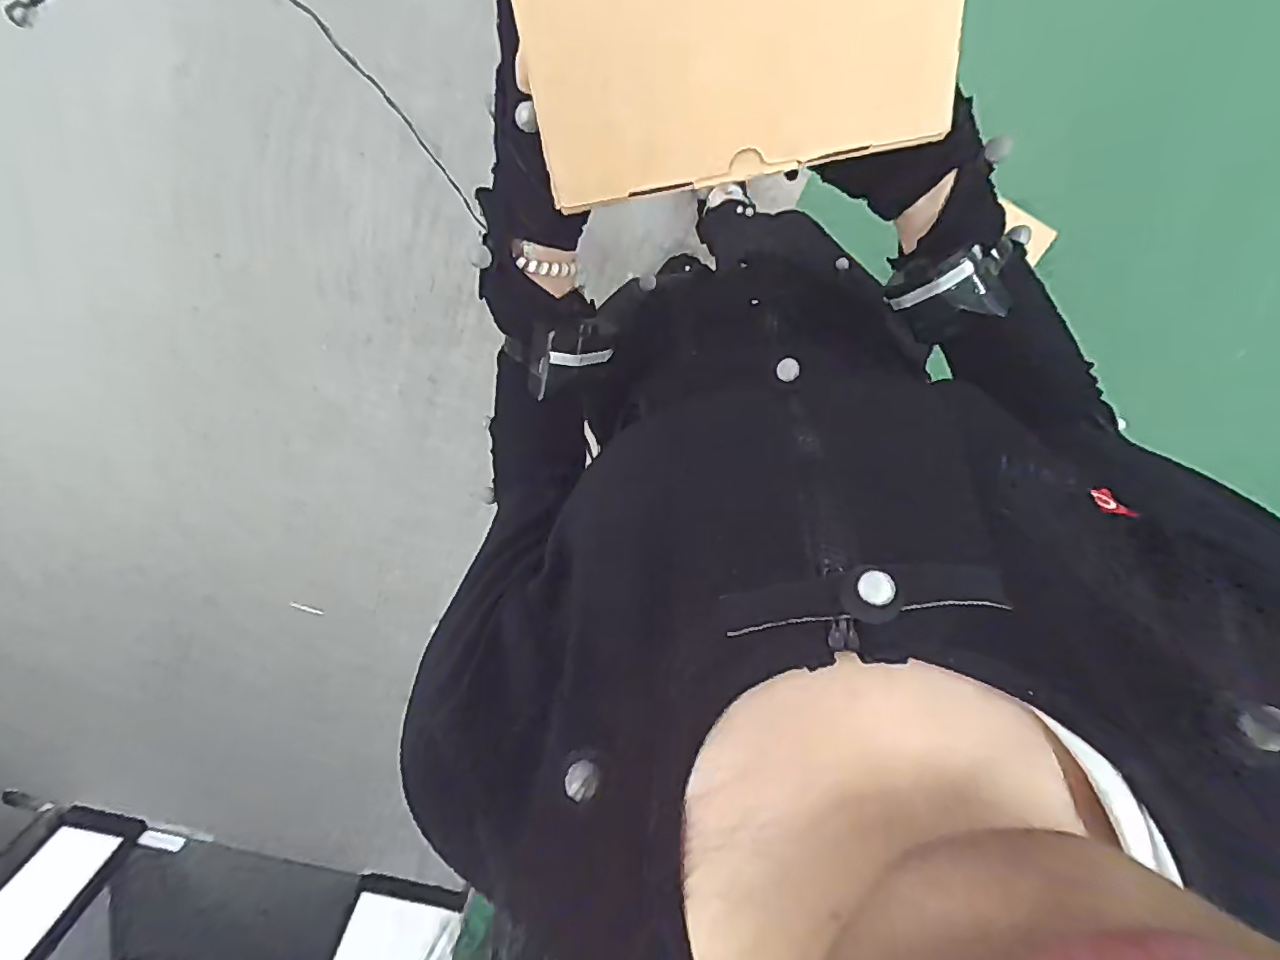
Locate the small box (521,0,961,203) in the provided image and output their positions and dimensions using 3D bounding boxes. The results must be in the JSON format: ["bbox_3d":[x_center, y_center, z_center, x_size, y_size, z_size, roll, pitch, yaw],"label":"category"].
[{"bbox_3d":[0.034,-0.246,0.258,0.168,0.176,0.179,-8,121,7],"label":"small box"}]
